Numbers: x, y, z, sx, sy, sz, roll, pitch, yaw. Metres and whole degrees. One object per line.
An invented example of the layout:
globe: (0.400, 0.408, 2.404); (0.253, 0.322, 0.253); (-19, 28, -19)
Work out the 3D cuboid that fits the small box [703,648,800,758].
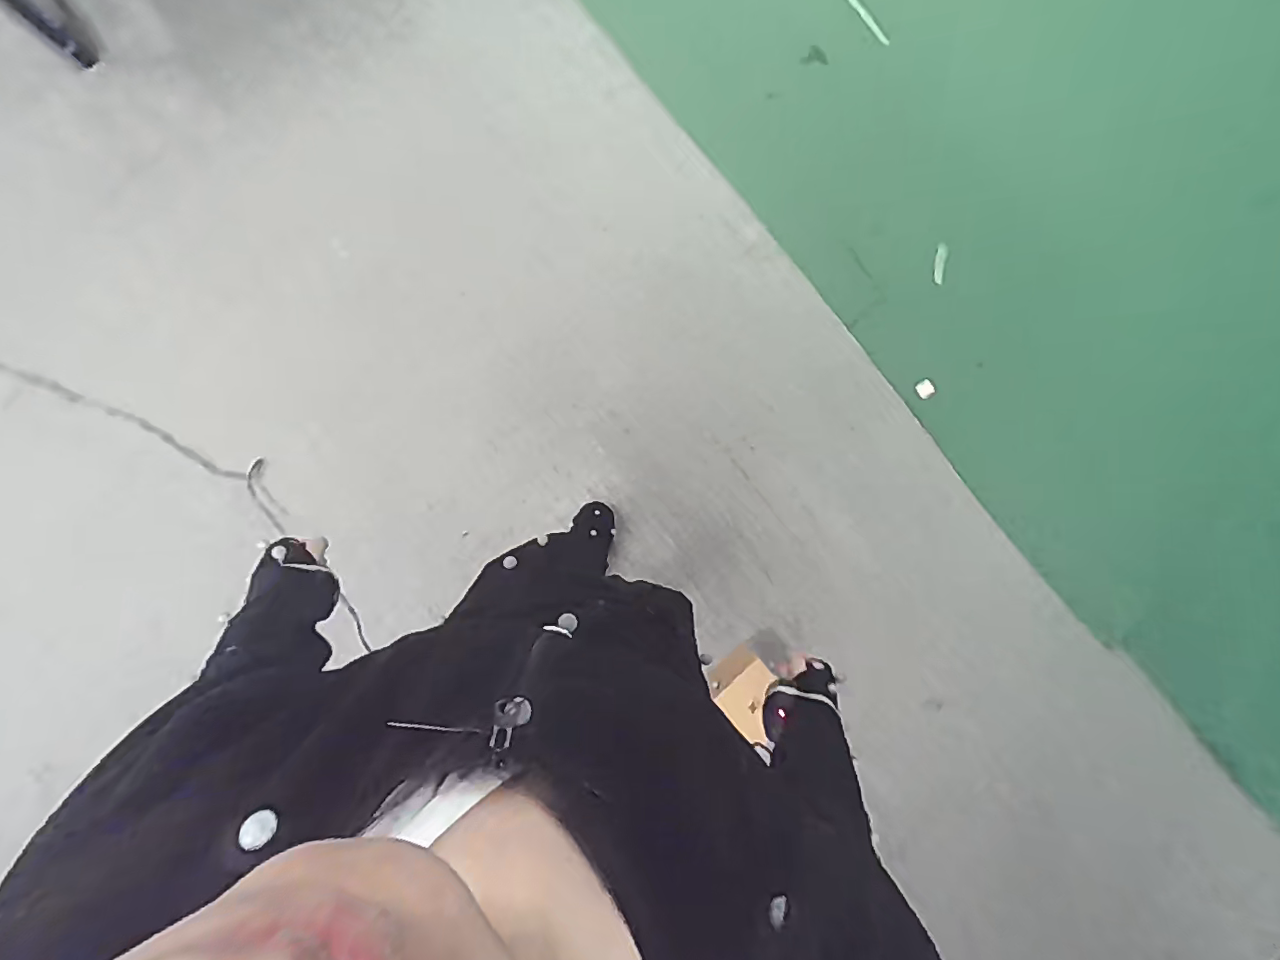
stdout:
small box: (0.279, 0.573, 1.413); (0.179, 0.176, 0.168); (-42, 89, -4)
